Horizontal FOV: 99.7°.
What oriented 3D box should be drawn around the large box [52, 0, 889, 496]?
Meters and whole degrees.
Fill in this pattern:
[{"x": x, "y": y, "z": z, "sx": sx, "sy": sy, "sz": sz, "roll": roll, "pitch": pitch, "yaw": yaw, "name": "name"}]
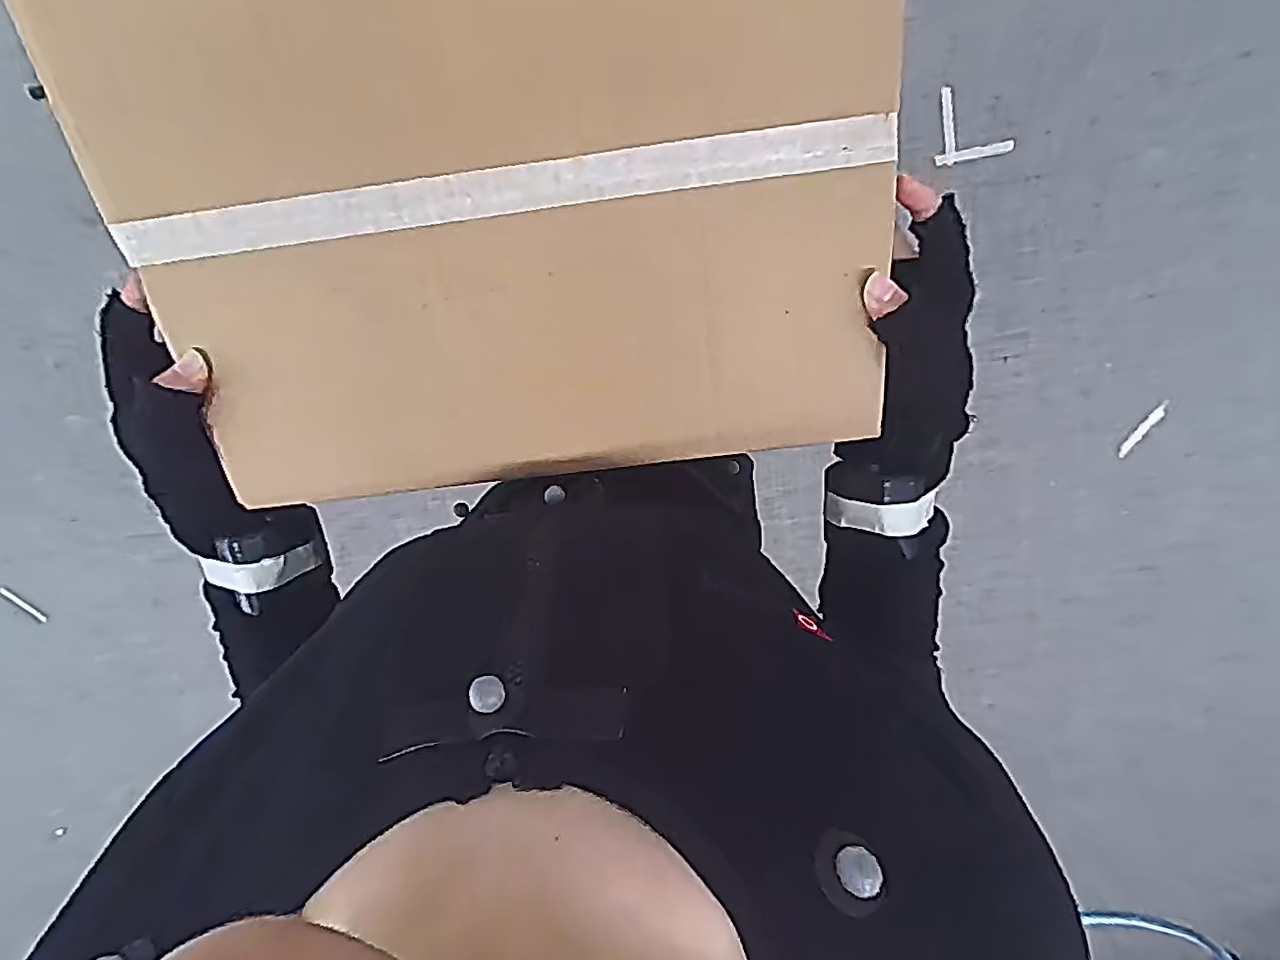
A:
[{"x": -0.073, "y": -0.209, "z": 0.428, "sx": 0.408, "sy": 0.320, "sz": 0.320, "roll": -7, "pitch": 113, "yaw": 2, "name": "large box"}]
